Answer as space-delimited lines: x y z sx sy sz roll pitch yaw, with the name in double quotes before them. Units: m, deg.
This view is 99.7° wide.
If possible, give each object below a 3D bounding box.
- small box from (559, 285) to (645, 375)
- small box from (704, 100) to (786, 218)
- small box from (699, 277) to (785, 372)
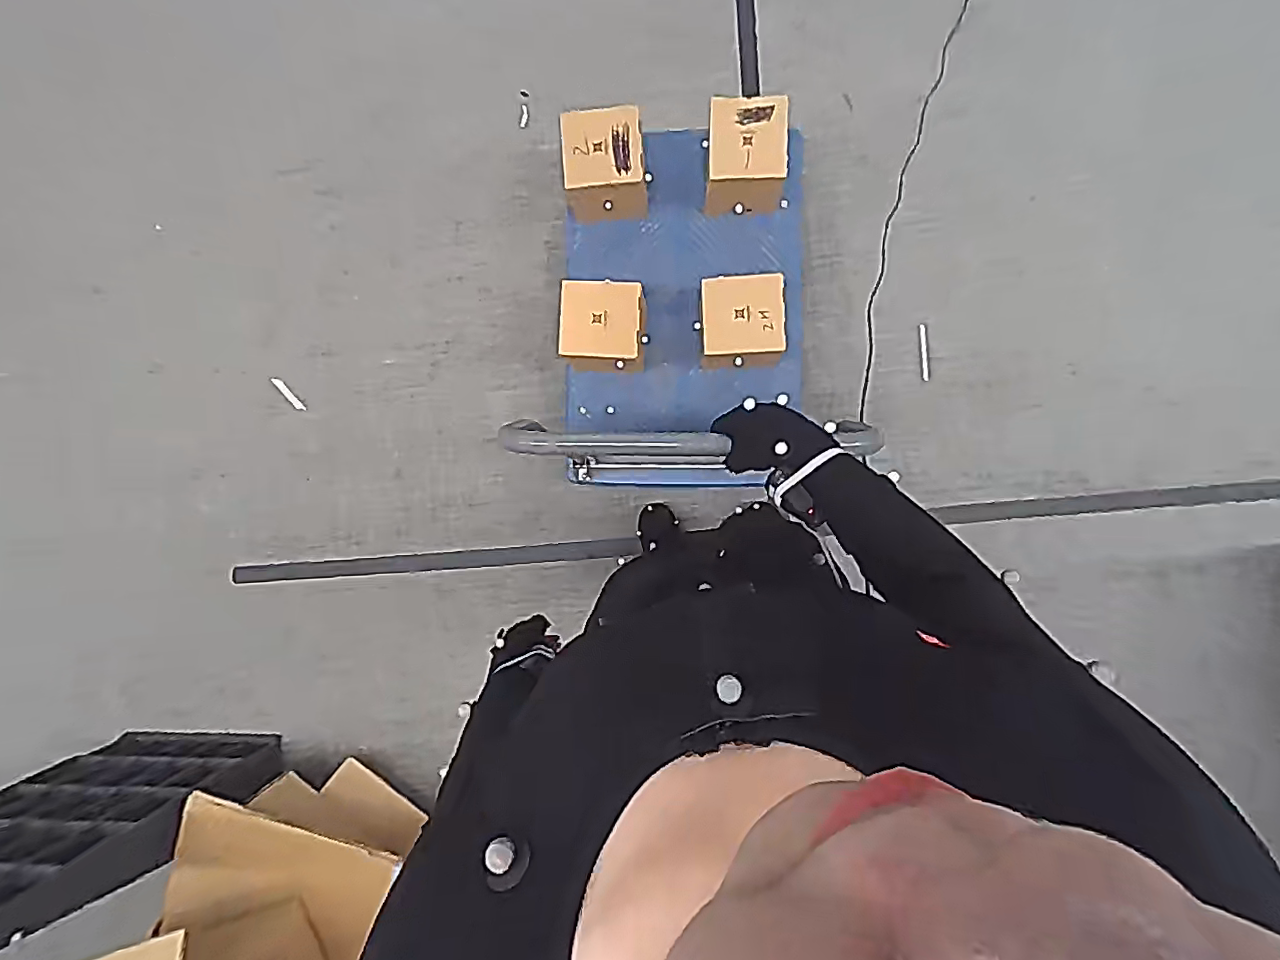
"small box" -0.083 -0.343 1.257 0.179 0.176 0.168 2 90 3
"small box" 0.233 -0.723 1.232 0.168 0.176 0.179 1 91 4
"small box" 0.226 -0.347 1.234 0.179 0.176 0.168 -2 90 4
